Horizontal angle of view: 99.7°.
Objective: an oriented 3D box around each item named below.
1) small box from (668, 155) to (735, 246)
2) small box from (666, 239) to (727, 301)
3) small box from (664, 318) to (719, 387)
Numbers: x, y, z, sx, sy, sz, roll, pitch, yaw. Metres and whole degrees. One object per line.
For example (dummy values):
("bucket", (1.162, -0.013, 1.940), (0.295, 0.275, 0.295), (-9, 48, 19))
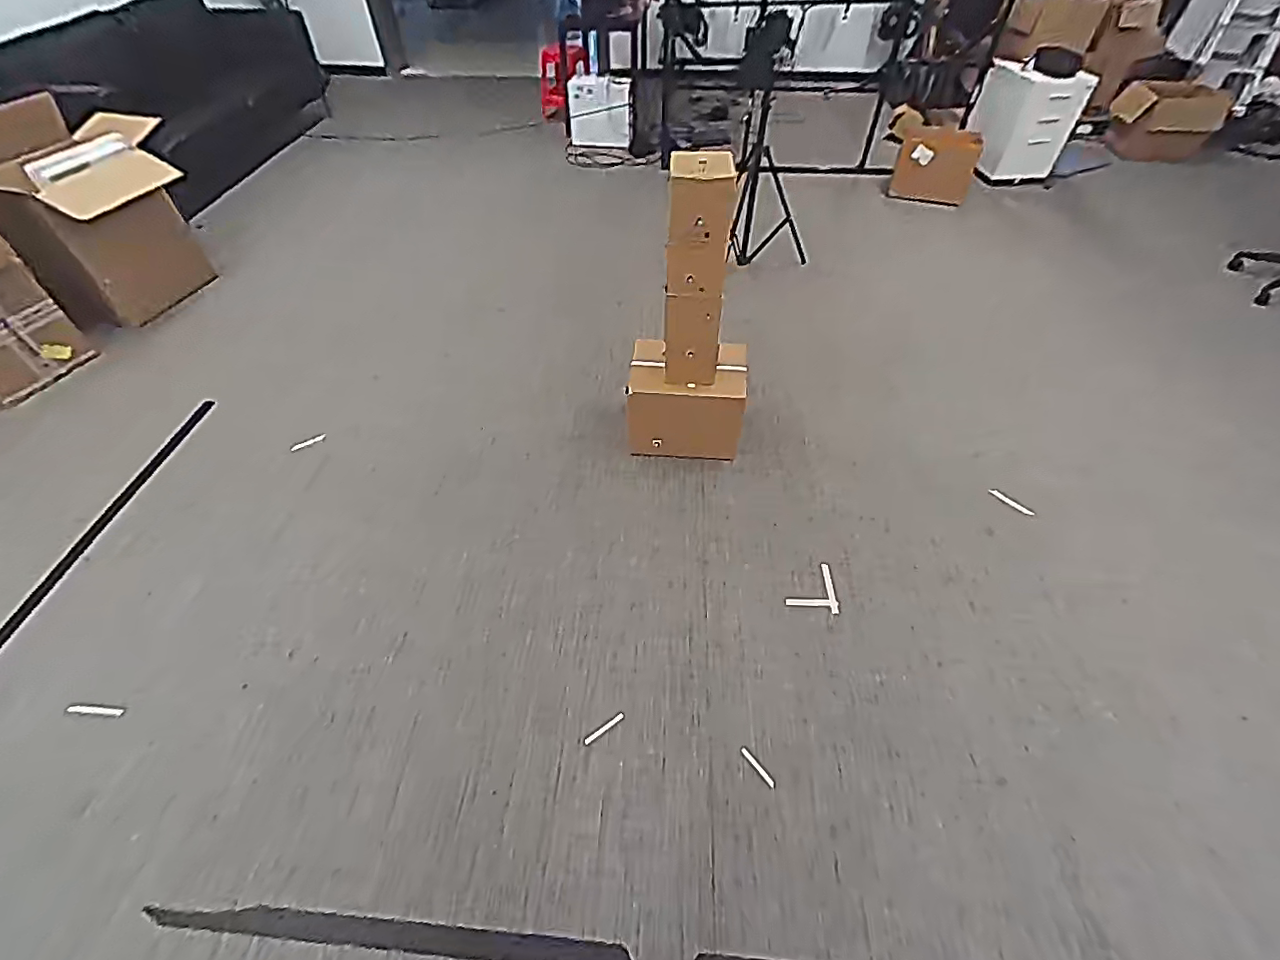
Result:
("small box", (0.161, -0.762, 1.476), (0.168, 0.176, 0.179), (1, 51, 2))
("small box", (0.162, -0.653, 1.600), (0.168, 0.176, 0.179), (2, 50, 2))
("small box", (0.171, -0.432, 1.840), (0.179, 0.176, 0.168), (2, 50, 1))
